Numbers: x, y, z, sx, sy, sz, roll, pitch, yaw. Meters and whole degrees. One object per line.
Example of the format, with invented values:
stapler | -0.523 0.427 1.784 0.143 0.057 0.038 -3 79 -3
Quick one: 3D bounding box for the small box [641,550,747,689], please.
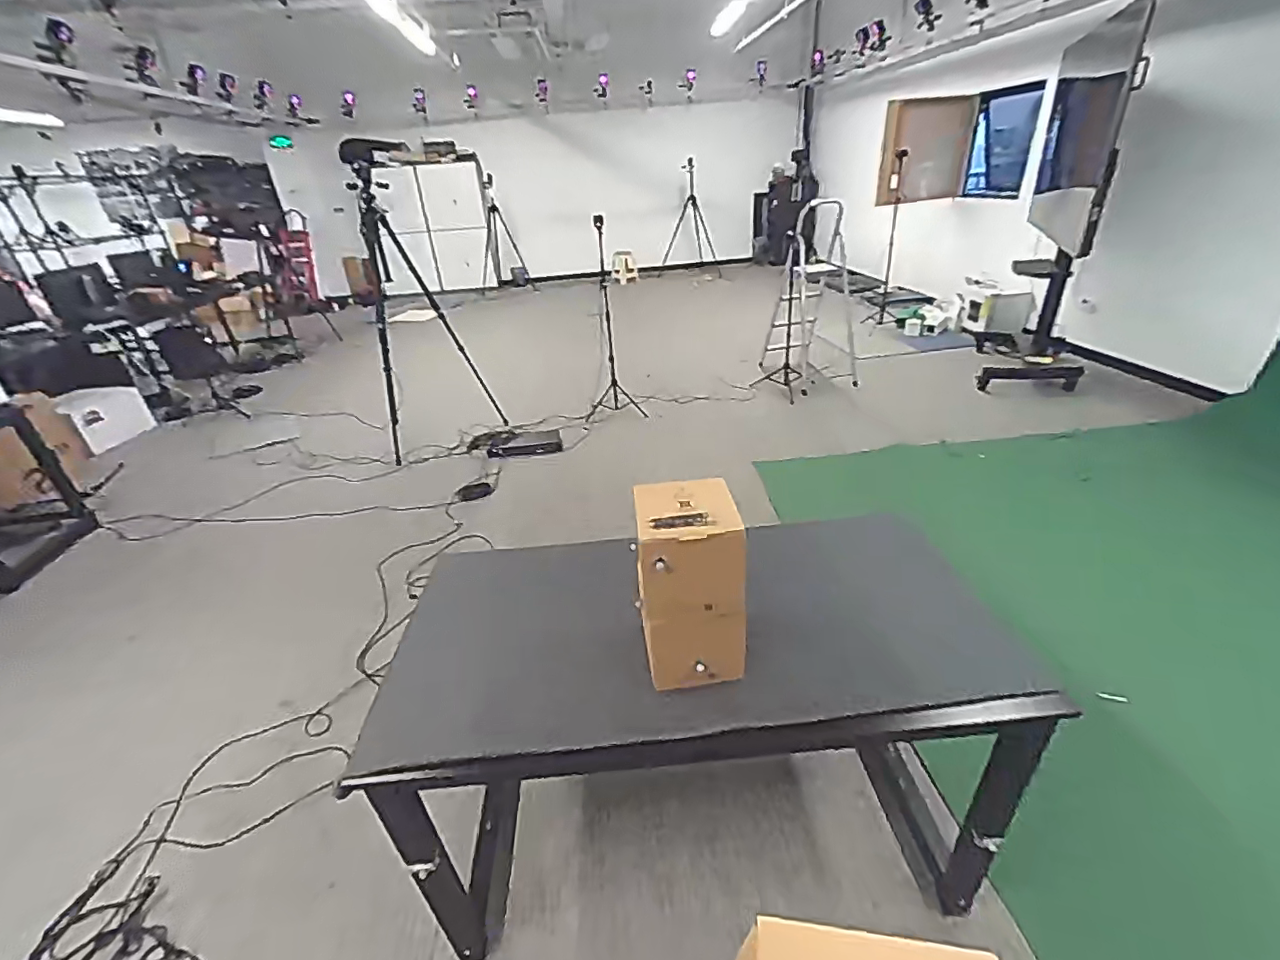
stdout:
small box | 0.094 0.255 1.005 0.168 0.176 0.179 -7 28 -4
